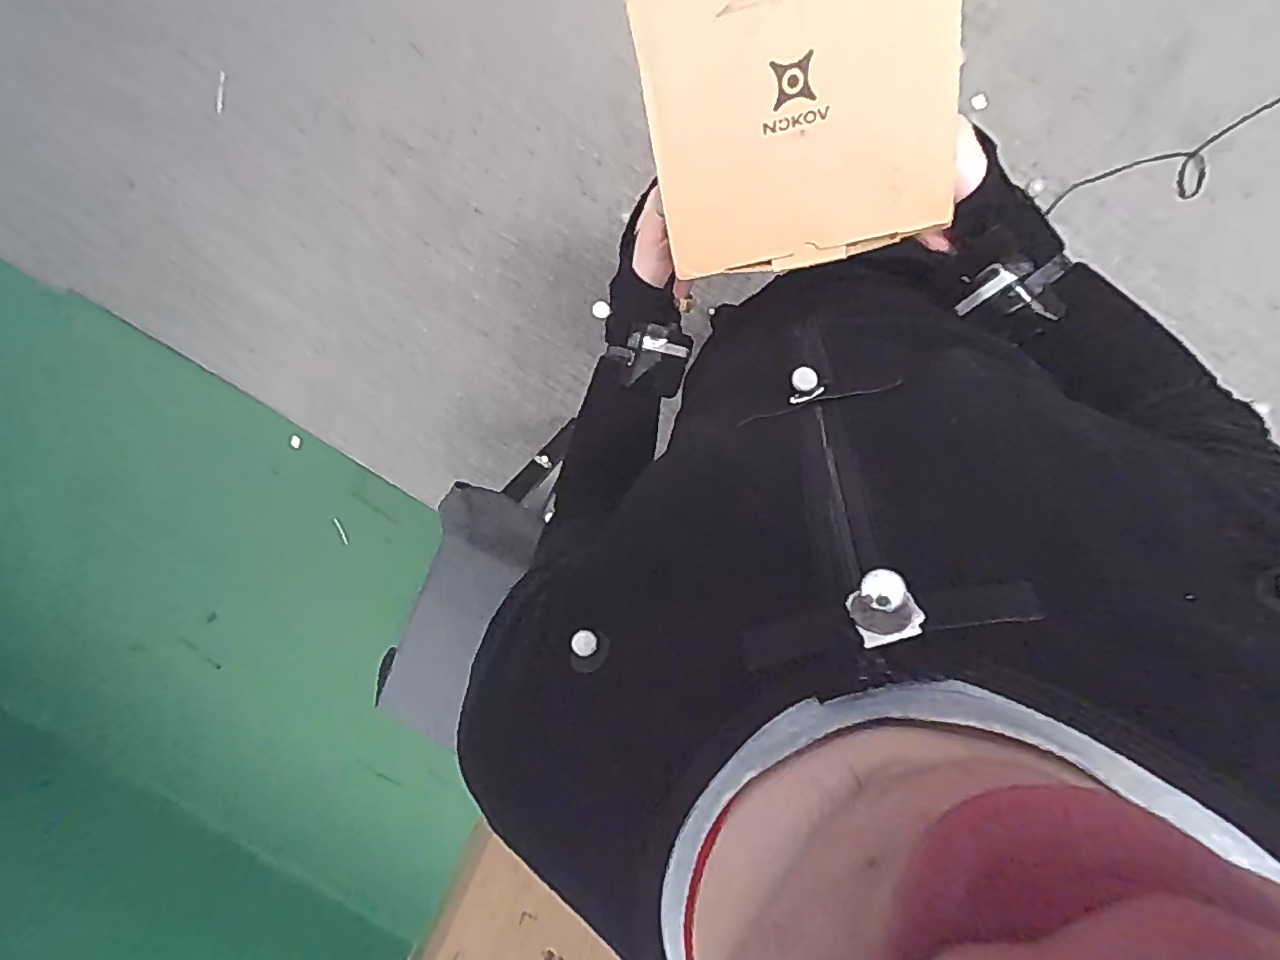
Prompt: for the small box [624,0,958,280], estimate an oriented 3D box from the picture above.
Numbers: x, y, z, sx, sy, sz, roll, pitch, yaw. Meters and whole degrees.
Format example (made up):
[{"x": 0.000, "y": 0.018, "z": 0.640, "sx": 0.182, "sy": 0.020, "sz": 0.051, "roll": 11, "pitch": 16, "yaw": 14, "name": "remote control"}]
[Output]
[{"x": 0.096, "y": -0.253, "z": 0.363, "sx": 0.168, "sy": 0.176, "sz": 0.179, "roll": -8, "pitch": 117, "yaw": 14, "name": "small box"}]
